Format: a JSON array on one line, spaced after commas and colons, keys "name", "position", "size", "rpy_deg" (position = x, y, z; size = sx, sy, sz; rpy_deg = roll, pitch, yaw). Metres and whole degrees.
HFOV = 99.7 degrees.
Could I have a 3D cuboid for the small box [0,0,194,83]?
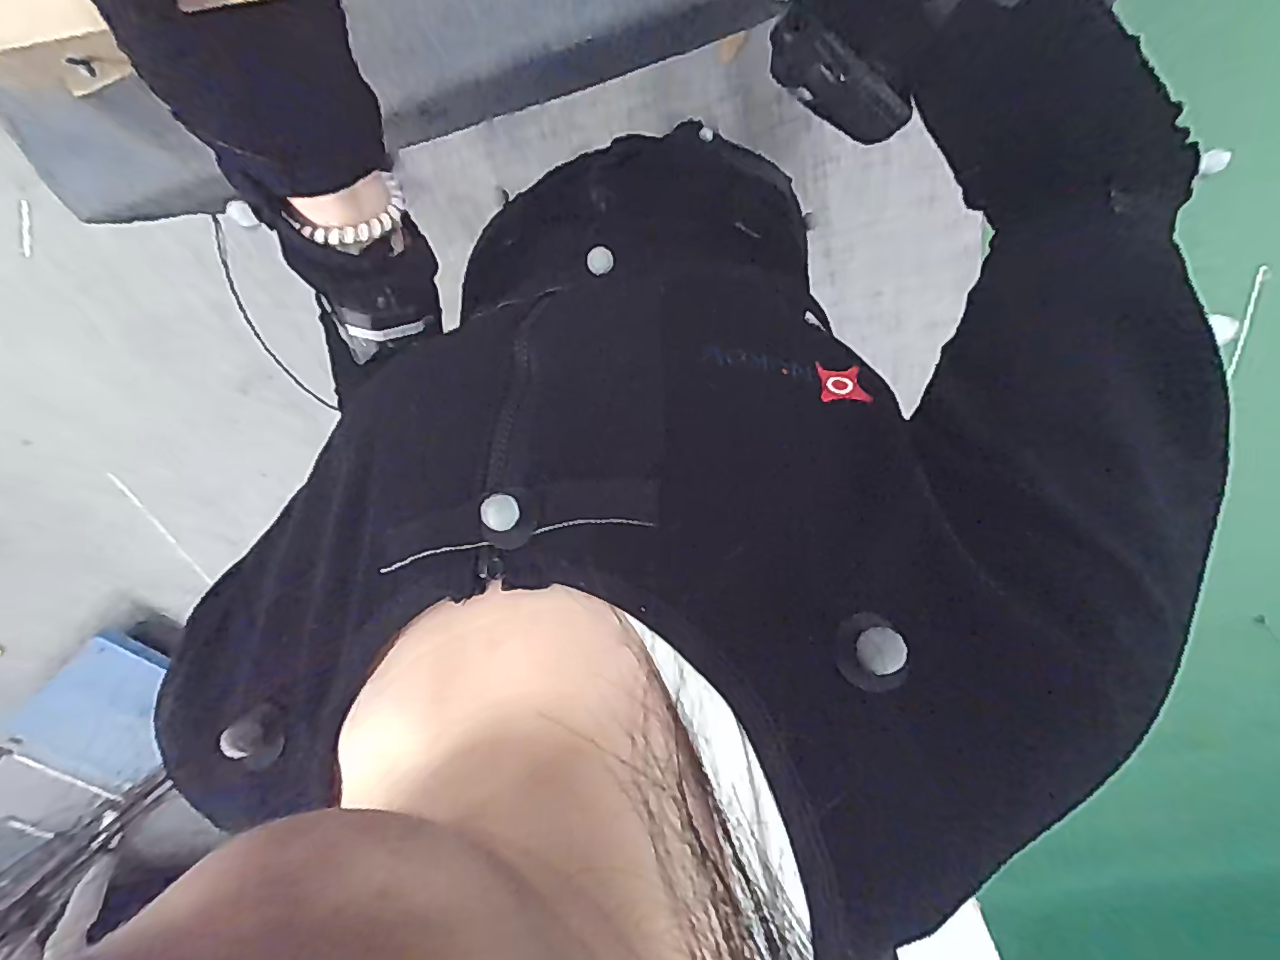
[{"name": "small box", "position": [-0.531, -0.453, 0.430], "size": [0.168, 0.176, 0.179], "rpy_deg": [-15, 120, 9]}]
